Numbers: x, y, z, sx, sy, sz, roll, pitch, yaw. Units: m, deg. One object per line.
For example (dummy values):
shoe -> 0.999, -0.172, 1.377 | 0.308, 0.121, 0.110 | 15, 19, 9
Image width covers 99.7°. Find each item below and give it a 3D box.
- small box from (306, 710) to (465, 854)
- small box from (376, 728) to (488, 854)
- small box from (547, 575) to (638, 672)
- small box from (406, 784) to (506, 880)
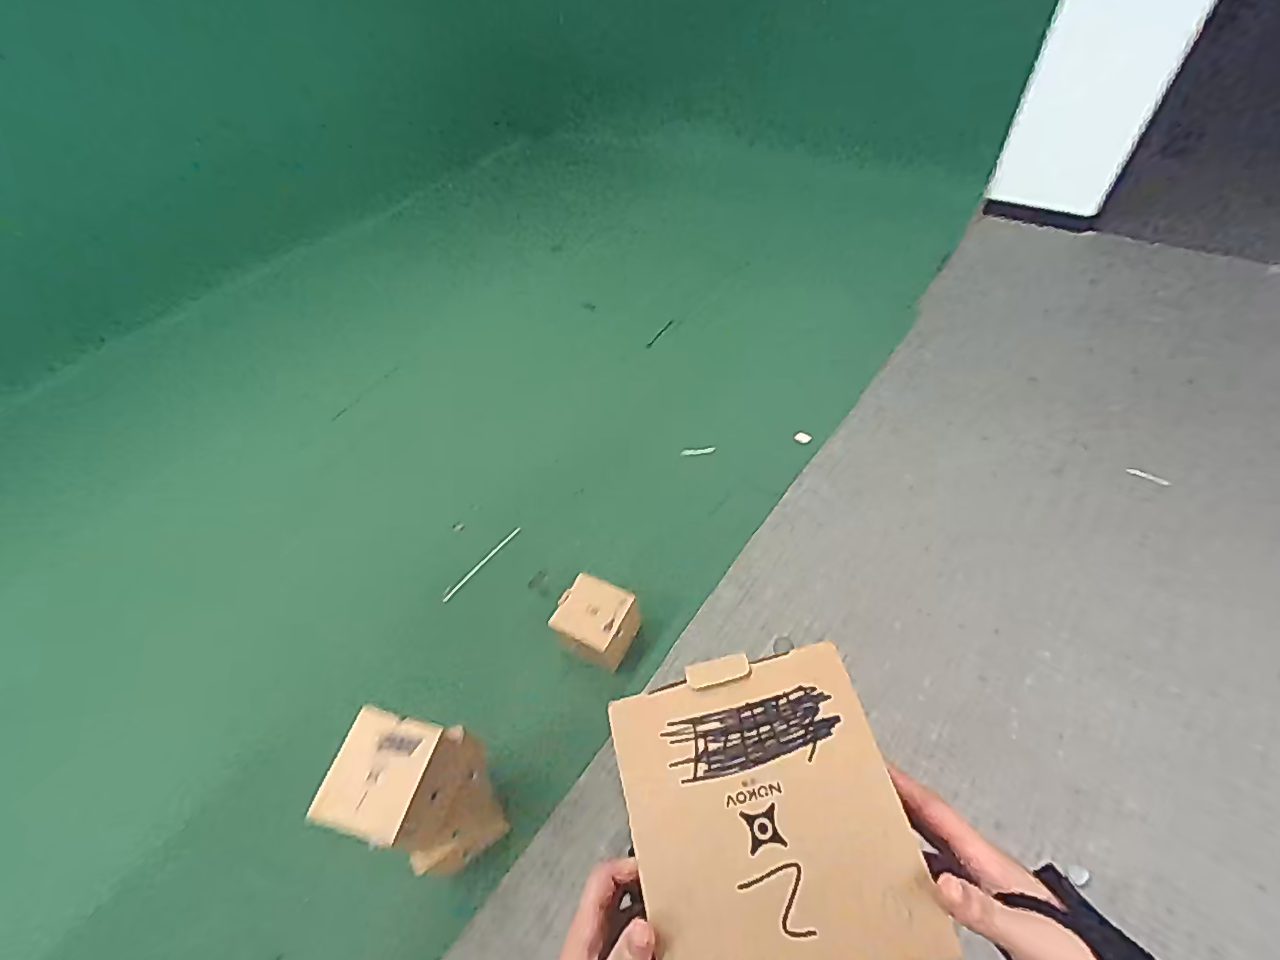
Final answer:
small box -> -0.434, 0.539, 0.963 | 0.168, 0.176, 0.179 | 9, 54, 12
small box -> -0.414, 0.635, 1.096 | 0.168, 0.176, 0.179 | -14, 51, -7
small box -> -0.121, 0.391, 1.463 | 0.179, 0.176, 0.168 | 20, 56, 21
small box -> -0.425, 0.753, 1.210 | 0.168, 0.176, 0.179 | -31, 55, -19
